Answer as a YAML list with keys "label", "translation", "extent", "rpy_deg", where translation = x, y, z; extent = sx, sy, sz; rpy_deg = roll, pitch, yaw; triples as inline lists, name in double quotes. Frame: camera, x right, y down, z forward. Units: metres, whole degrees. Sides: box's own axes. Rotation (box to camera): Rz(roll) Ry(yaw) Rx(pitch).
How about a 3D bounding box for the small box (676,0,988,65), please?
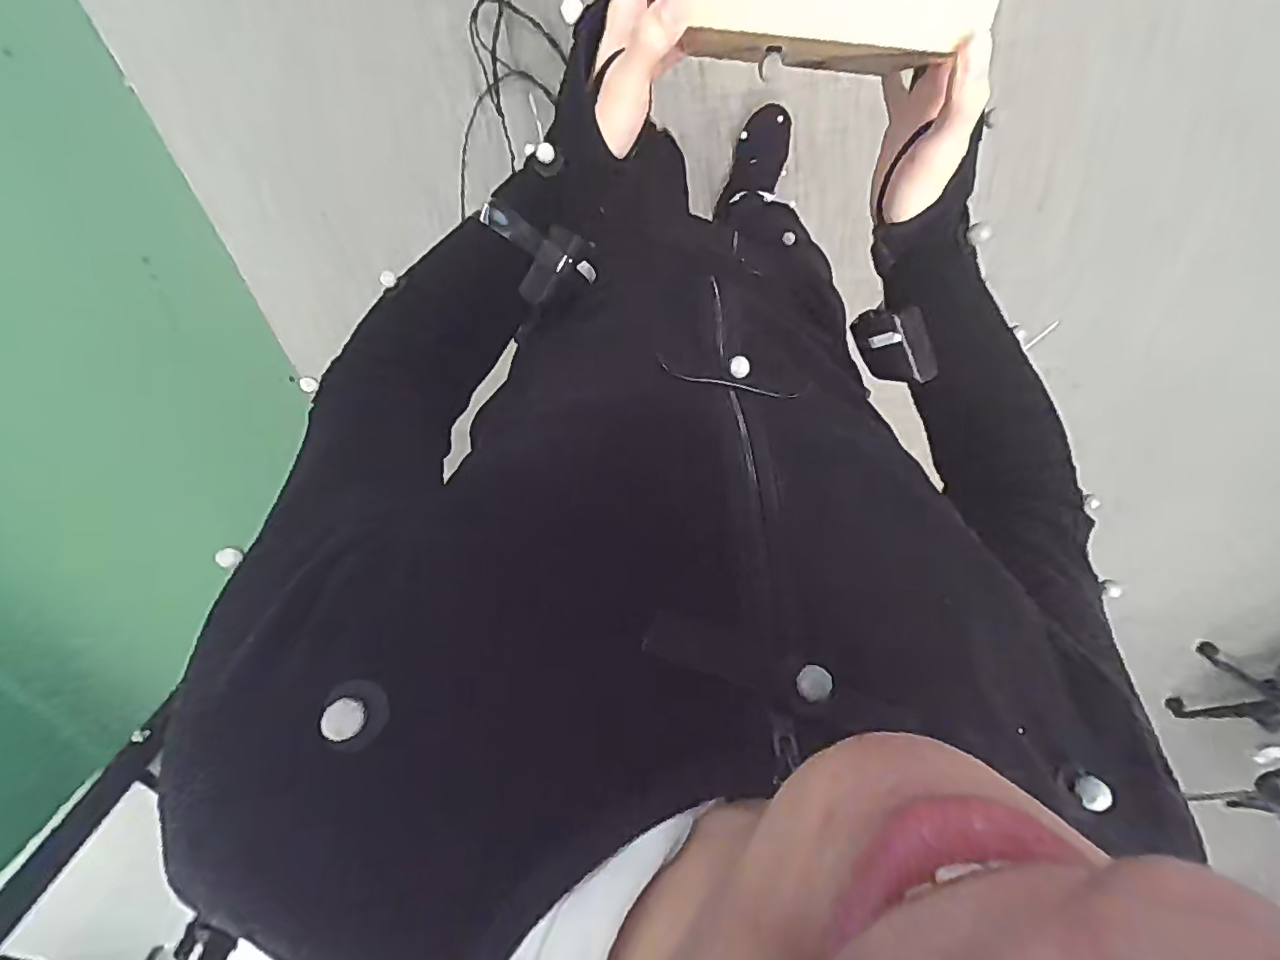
- label: "small box"
  translation: [0.115, -0.361, 0.313]
  extent: [0.168, 0.176, 0.179]
  rpy_deg: [7, 123, 2]
